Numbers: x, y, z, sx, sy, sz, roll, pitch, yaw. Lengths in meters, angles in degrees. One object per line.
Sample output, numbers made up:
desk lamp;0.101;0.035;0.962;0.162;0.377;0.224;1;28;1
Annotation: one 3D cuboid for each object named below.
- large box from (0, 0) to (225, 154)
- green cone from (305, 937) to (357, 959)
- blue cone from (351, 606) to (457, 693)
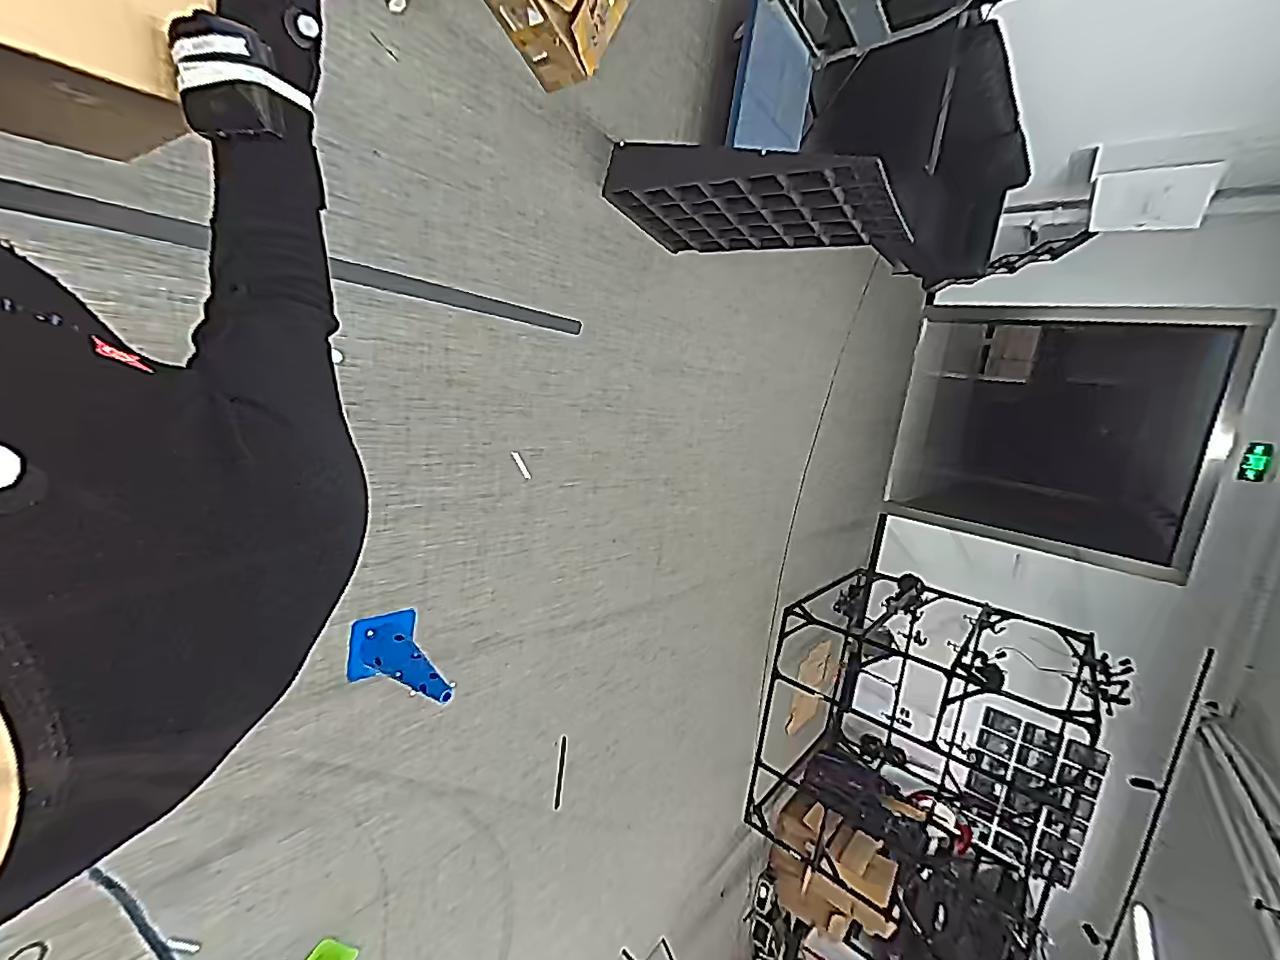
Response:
large box;-0.531;-0.429;0.295;0.408;0.320;0.320;-11;113;-52
green cone;-0.909;1.636;1.645;0.202;0.368;0.200;-49;137;-32
blue cone;-0.670;0.531;1.588;0.192;0.380;0.193;1;102;-54
